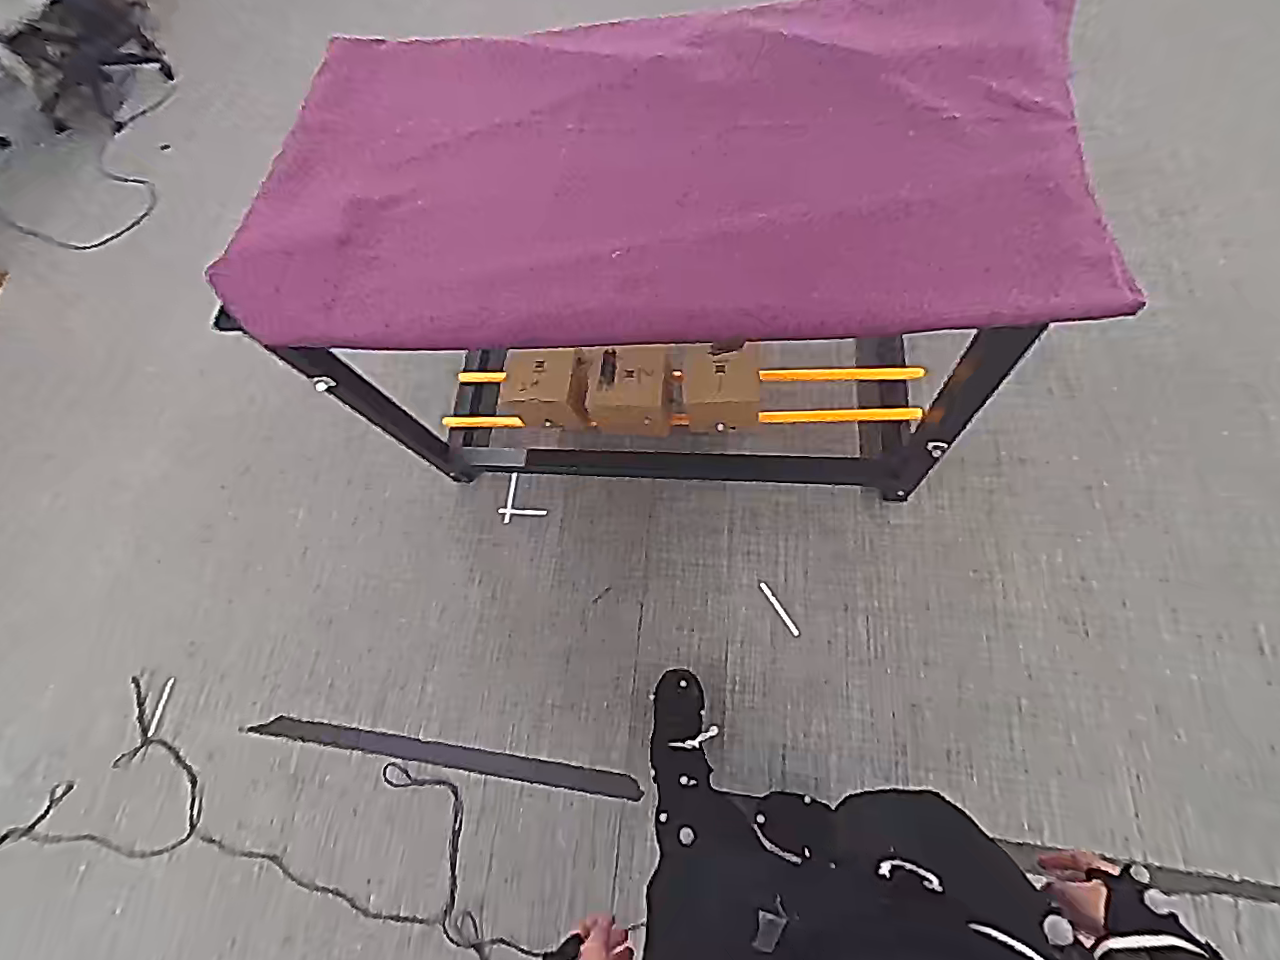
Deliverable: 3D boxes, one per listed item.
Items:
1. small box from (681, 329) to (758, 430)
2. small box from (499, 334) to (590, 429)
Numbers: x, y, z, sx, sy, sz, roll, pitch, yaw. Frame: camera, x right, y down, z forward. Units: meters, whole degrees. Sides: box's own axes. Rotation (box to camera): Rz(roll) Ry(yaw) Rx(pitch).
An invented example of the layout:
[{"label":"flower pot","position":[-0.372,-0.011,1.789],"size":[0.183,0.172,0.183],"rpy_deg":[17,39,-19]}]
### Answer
[{"label":"small box","position":[0.189,-0.228,1.258],"size":[0.168,0.176,0.179],"rpy_deg":[0,73,12]},{"label":"small box","position":[-0.228,-0.242,1.343],"size":[0.168,0.176,0.179],"rpy_deg":[2,73,11]}]
